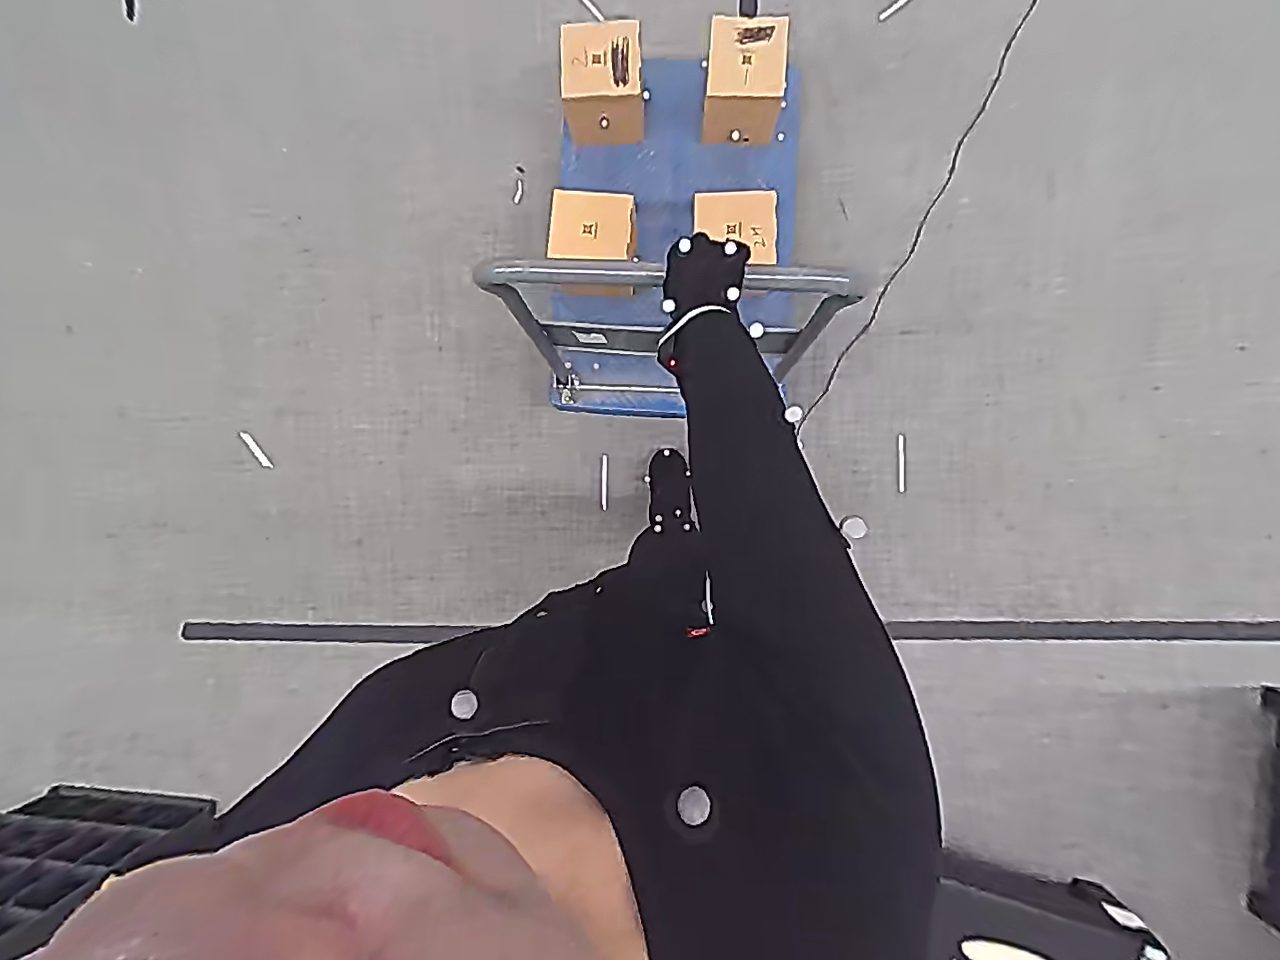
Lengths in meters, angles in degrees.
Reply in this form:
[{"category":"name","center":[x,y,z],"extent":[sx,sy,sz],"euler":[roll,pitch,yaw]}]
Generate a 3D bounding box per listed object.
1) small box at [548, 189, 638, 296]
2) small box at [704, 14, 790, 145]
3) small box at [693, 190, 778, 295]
[{"category":"small box","center":[-0.101,-0.537,1.242],"extent":[0.179,0.176,0.168],"euler":[5,88,2]},{"category":"small box","center":[0.235,-0.903,1.230],"extent":[0.168,0.176,0.179],"euler":[3,90,3]},{"category":"small box","center":[0.209,-0.528,1.222],"extent":[0.179,0.176,0.168],"euler":[0,89,4]}]
